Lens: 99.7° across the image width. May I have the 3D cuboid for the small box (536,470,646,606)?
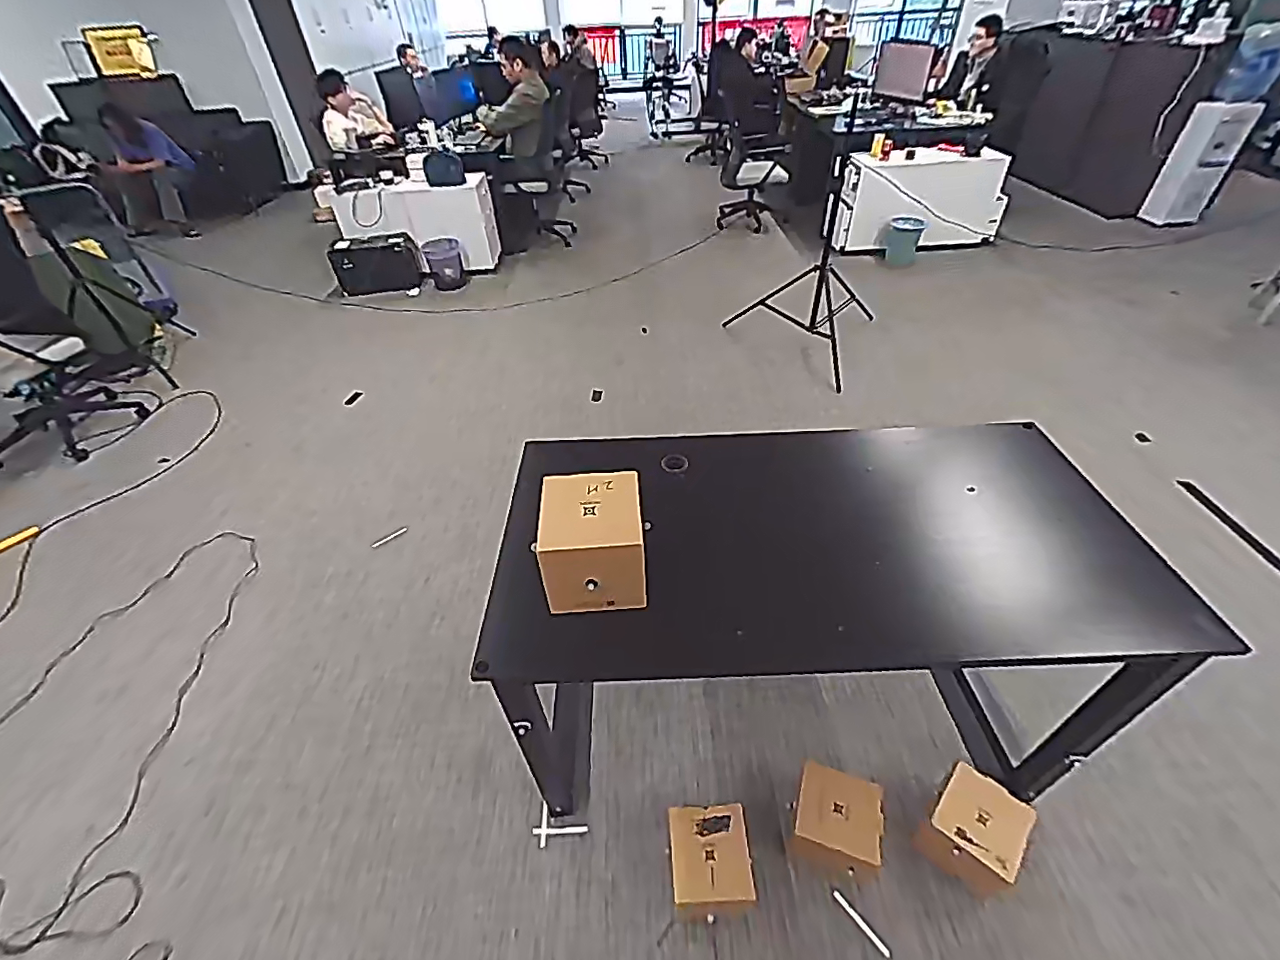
[{"bbox_3d":[-0.079,0.105,0.943,0.168,0.176,0.179,-4,42,-1],"label":"small box"}]

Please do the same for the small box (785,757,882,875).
[{"bbox_3d":[0.446,0.781,1.252,0.179,0.176,0.168,11,43,17],"label":"small box"}]

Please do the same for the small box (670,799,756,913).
[{"bbox_3d":[0.154,0.839,1.207,0.168,0.176,0.179,-4,43,0],"label":"small box"}]

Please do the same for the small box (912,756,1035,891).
[{"bbox_3d":[0.749,0.780,1.229,0.168,0.176,0.179,30,52,32],"label":"small box"}]
